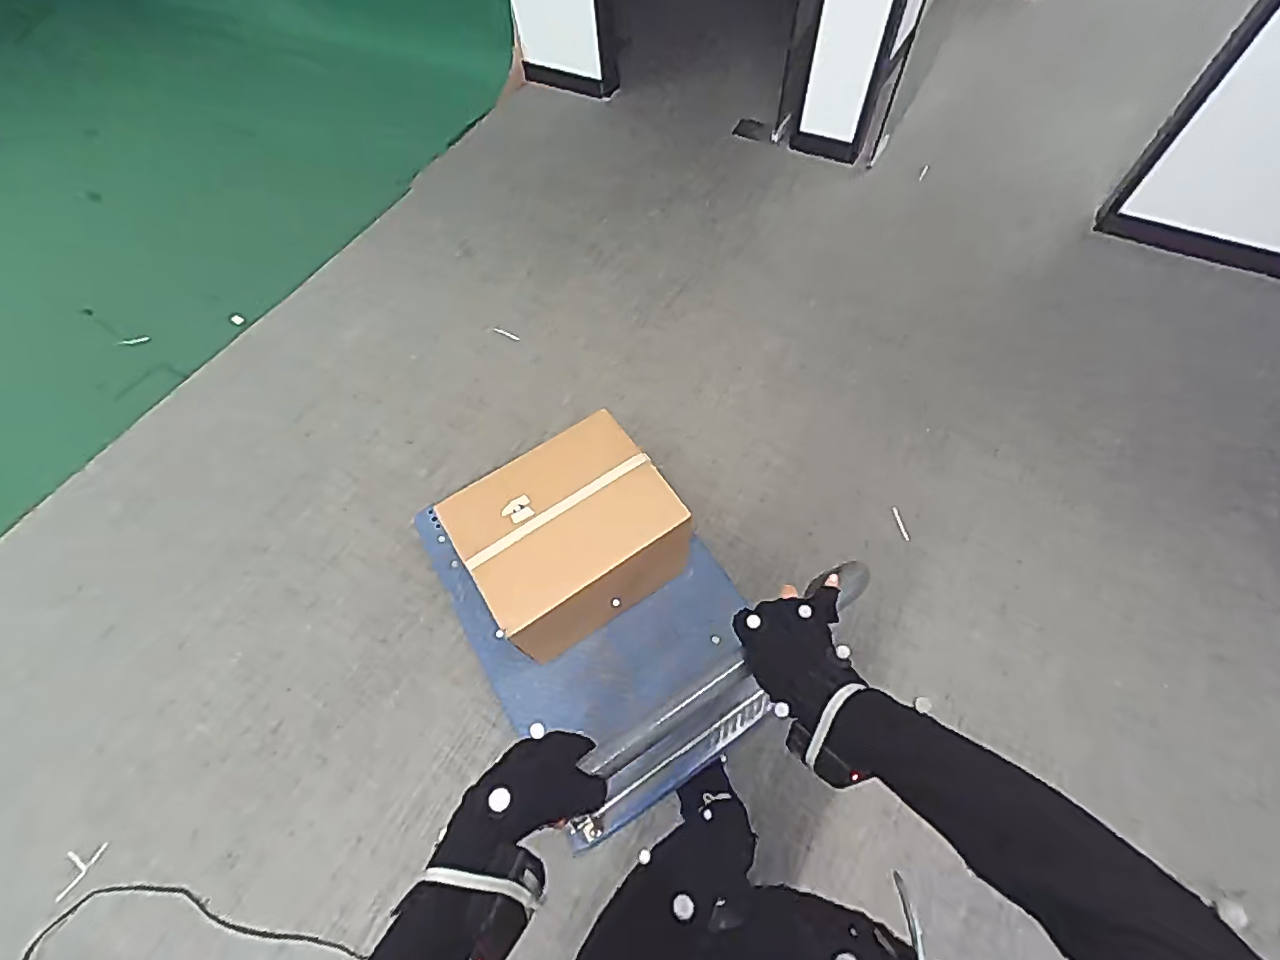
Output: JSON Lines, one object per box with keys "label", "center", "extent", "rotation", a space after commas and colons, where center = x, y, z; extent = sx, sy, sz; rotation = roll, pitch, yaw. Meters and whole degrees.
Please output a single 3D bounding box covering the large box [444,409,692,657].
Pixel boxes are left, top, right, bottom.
{"label": "large box", "center": [-0.136, 0.125, 1.186], "extent": [0.408, 0.320, 0.320], "rotation": [-33, 65, -12]}
